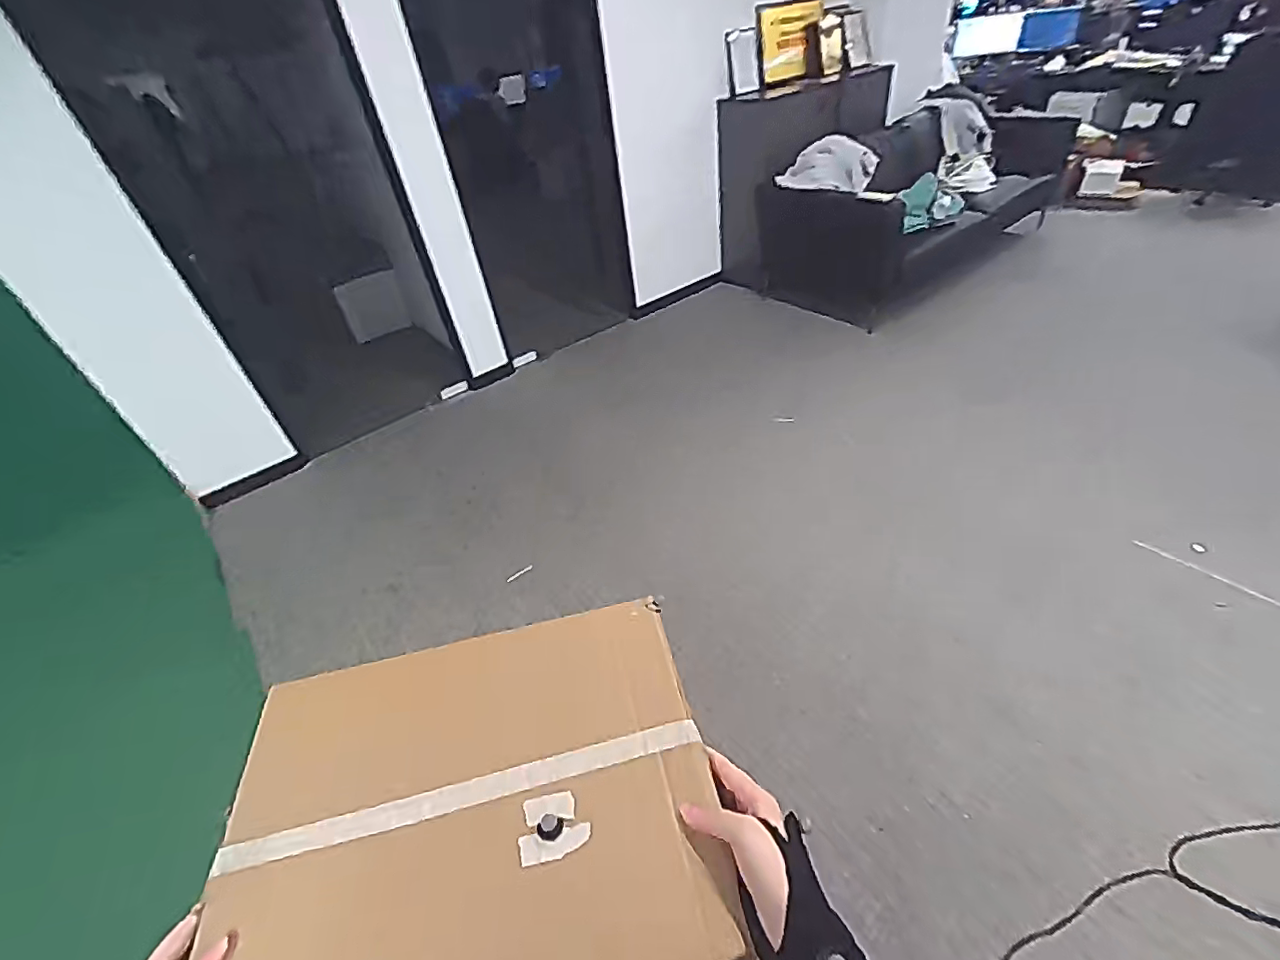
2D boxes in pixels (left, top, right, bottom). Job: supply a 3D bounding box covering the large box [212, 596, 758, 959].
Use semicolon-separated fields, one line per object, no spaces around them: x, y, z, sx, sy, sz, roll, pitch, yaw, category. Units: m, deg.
-0.132;0.378;0.576;0.408;0.320;0.320;-11;42;-8;large box
